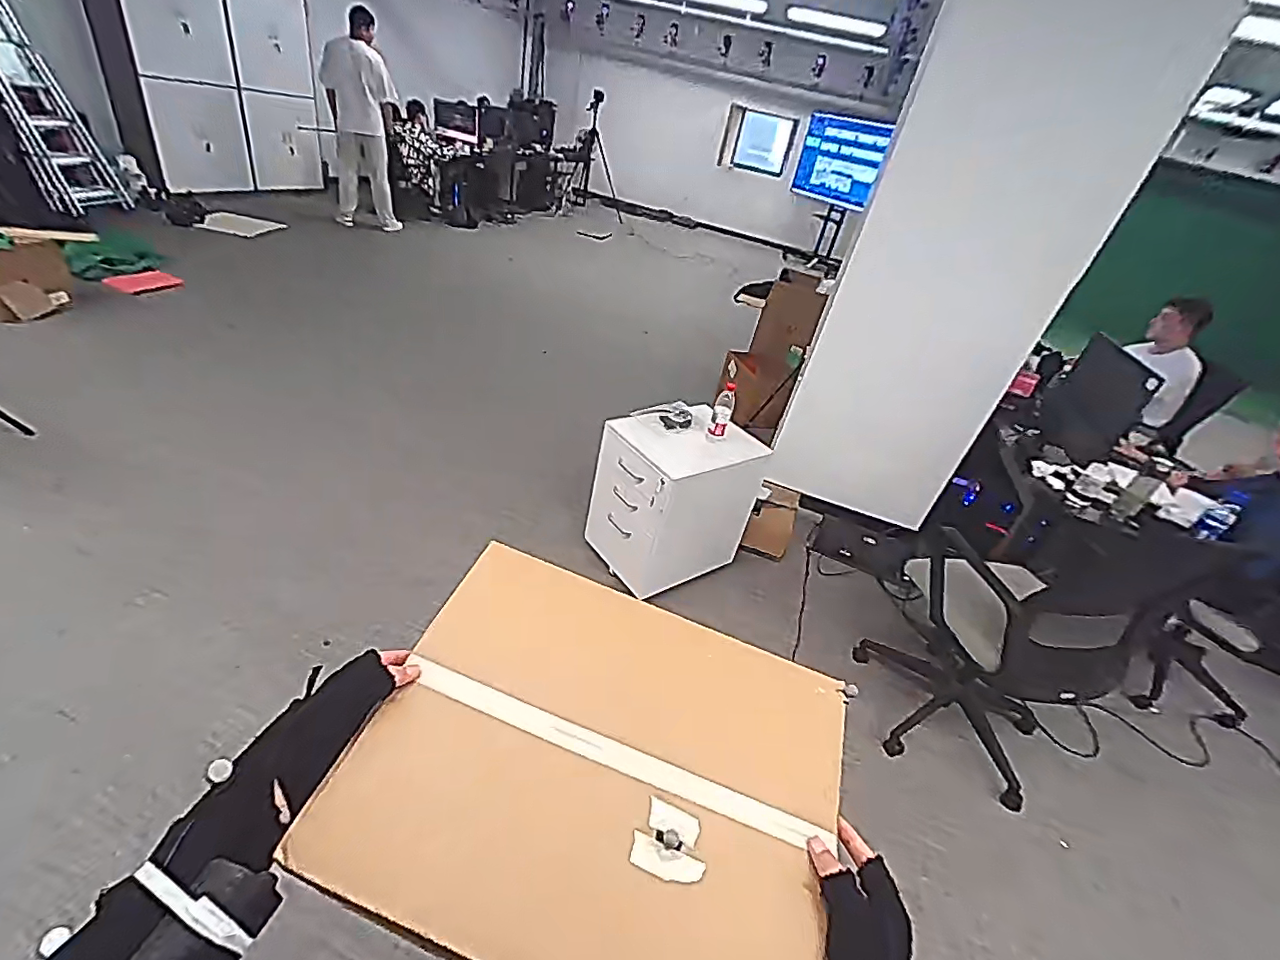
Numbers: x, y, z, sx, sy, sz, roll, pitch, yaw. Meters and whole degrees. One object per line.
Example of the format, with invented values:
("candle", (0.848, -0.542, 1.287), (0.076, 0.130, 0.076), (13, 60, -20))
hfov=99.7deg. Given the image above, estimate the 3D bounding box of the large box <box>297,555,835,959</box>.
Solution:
("large box", (-0.055, 0.348, 0.586), (0.408, 0.320, 0.320), (22, 46, 5))
